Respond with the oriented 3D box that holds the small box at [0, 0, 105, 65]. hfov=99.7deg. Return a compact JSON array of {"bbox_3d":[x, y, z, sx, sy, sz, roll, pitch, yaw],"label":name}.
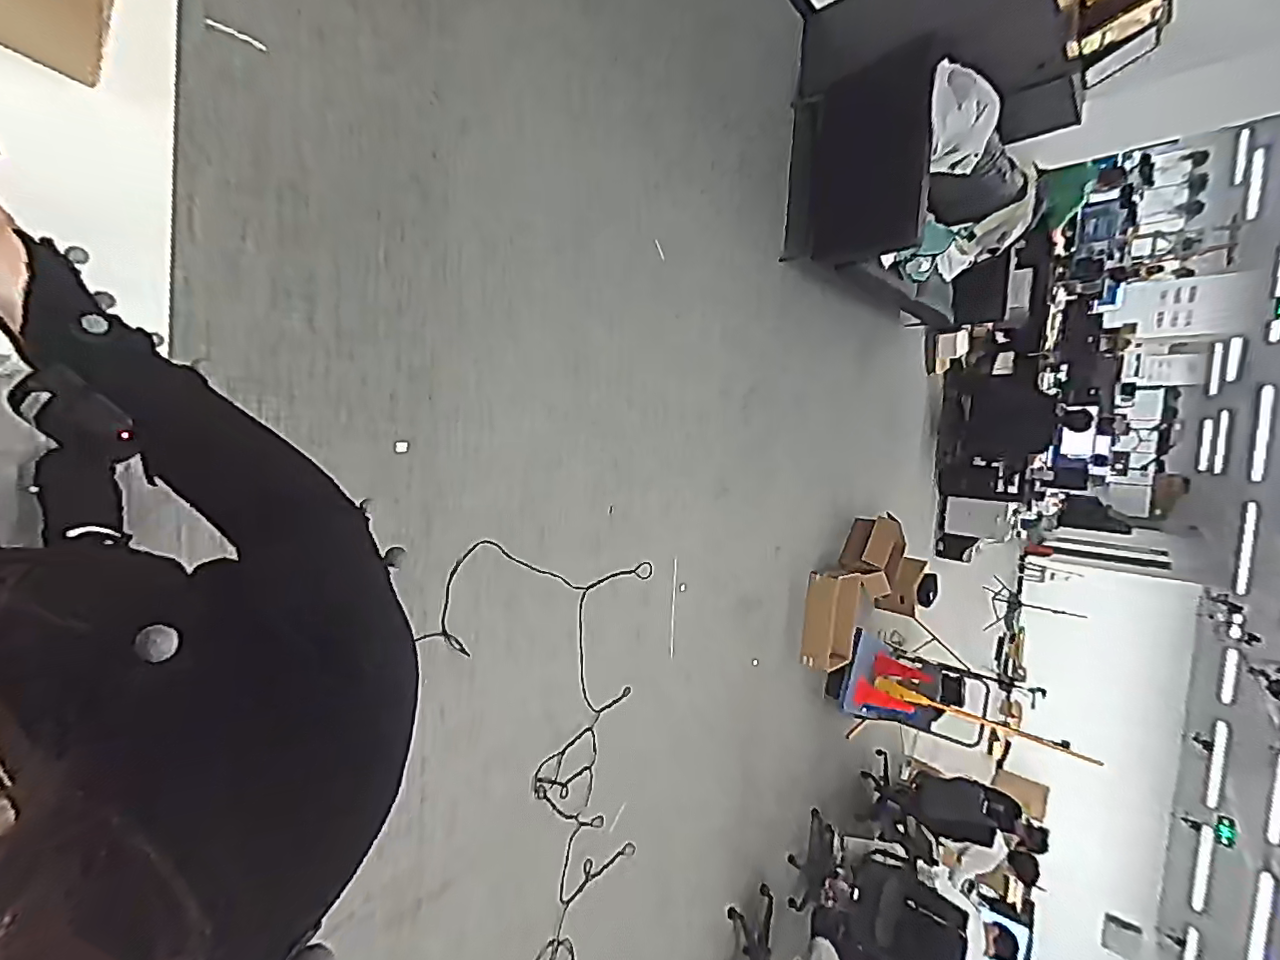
[{"bbox_3d":[-0.613,-0.539,0.498,0.179,0.176,0.168,11,87,-48],"label":"small box"}]
